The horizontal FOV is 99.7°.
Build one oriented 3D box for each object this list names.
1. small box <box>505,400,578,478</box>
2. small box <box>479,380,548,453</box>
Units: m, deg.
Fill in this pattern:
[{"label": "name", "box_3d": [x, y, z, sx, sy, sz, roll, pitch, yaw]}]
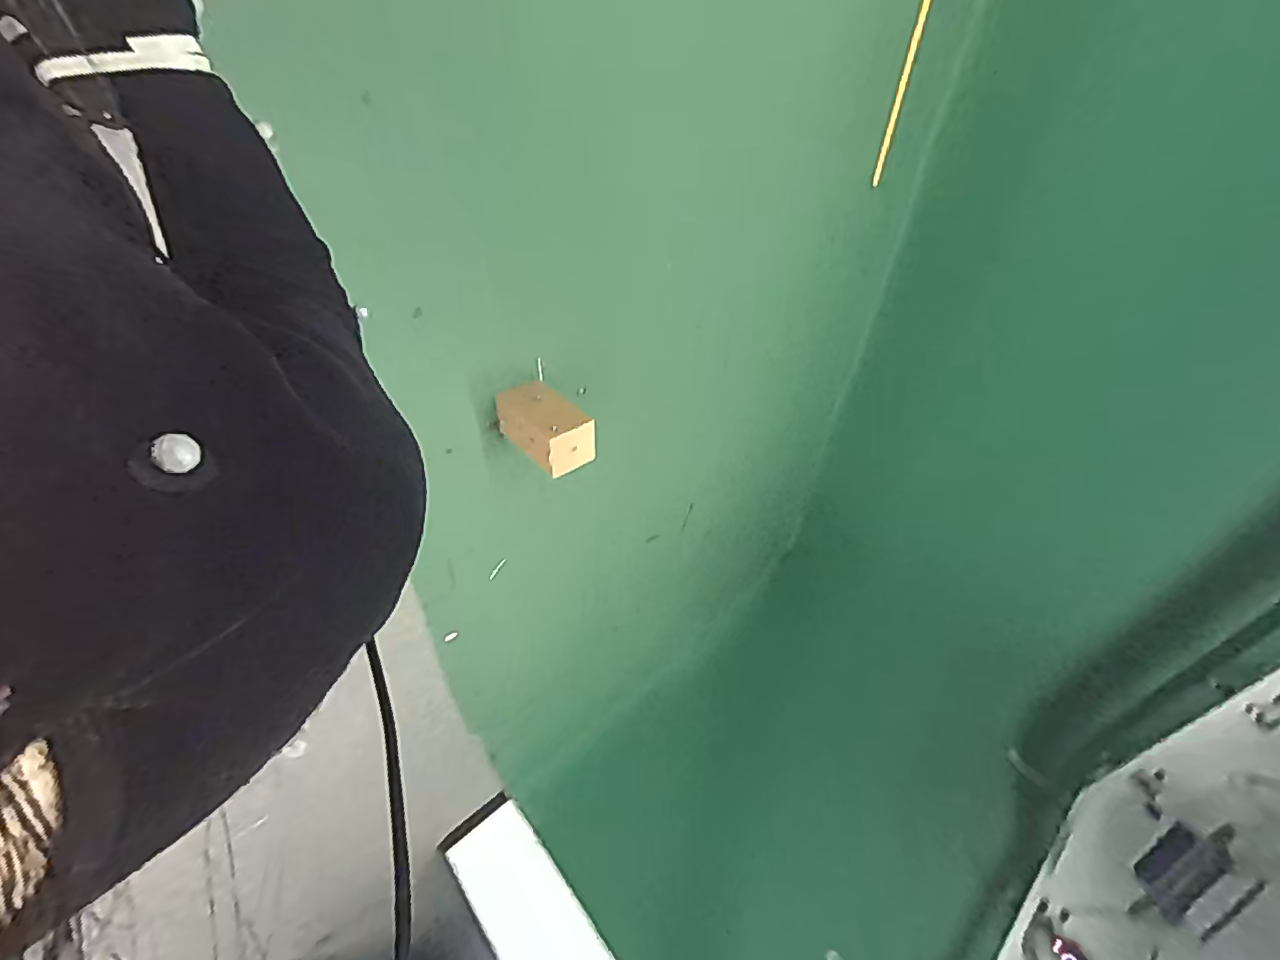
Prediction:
[{"label": "small box", "box_3d": [-0.325, -0.144, 1.802, 0.179, 0.176, 0.168, -30, 142, -32]}, {"label": "small box", "box_3d": [-0.437, -0.228, 1.885, 0.179, 0.176, 0.168, -29, 141, -33]}]
